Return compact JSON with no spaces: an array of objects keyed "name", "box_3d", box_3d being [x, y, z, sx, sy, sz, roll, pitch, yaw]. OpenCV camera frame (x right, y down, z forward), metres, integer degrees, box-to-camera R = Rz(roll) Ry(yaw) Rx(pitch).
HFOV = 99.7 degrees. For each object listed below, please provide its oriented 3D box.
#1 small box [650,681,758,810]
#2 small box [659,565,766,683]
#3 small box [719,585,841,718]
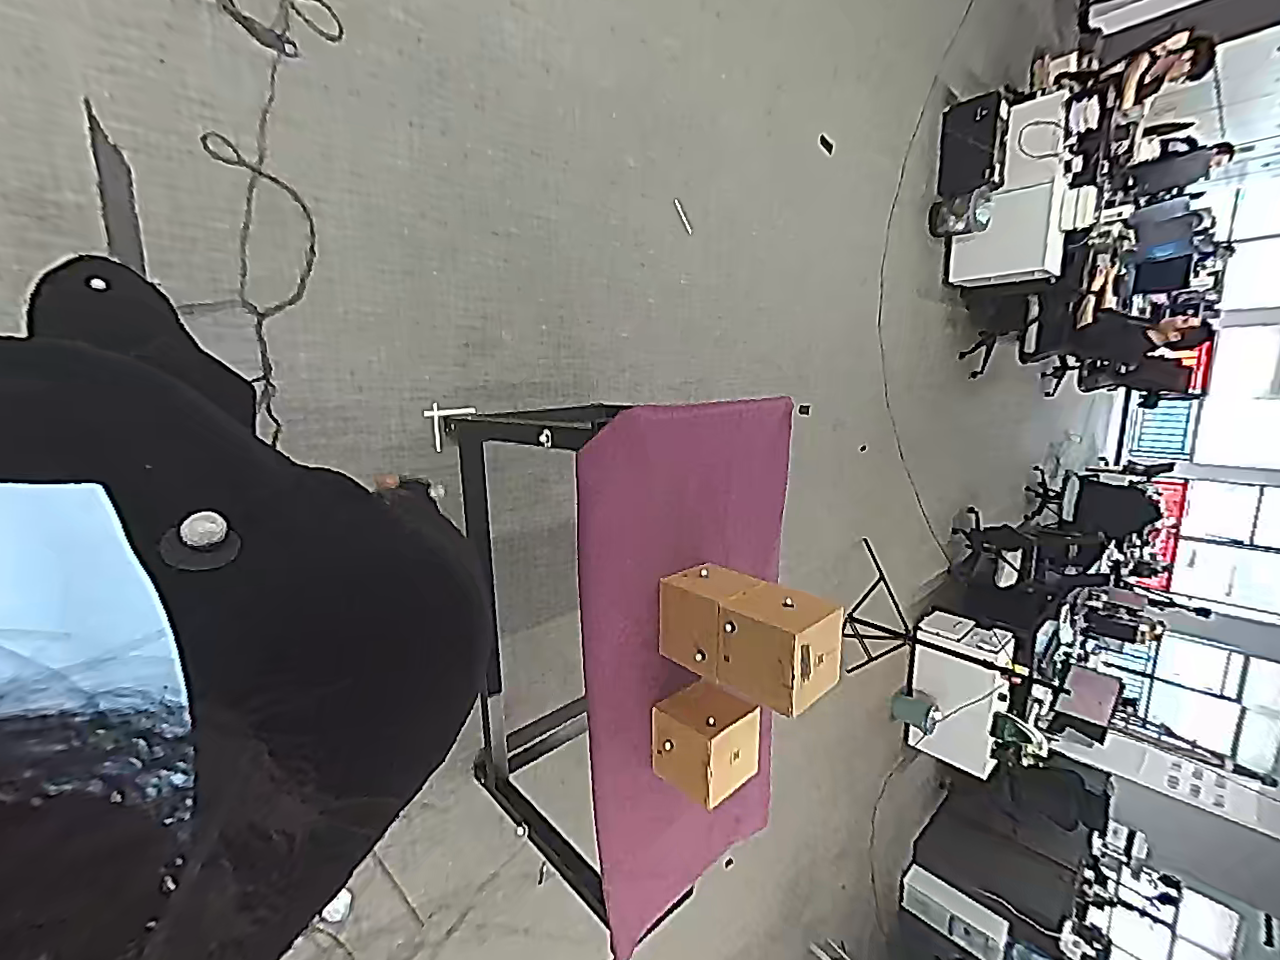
[{"name":"small box","box_3d":[0.143,0.581,1.213,0.179,0.176,0.168,-9,104,-42]},{"name":"small box","box_3d":[0.153,0.302,1.171,0.168,0.176,0.179,-9,104,-42]},{"name":"small box","box_3d":[0.270,0.323,1.057,0.179,0.176,0.168,-11,106,-42]}]
